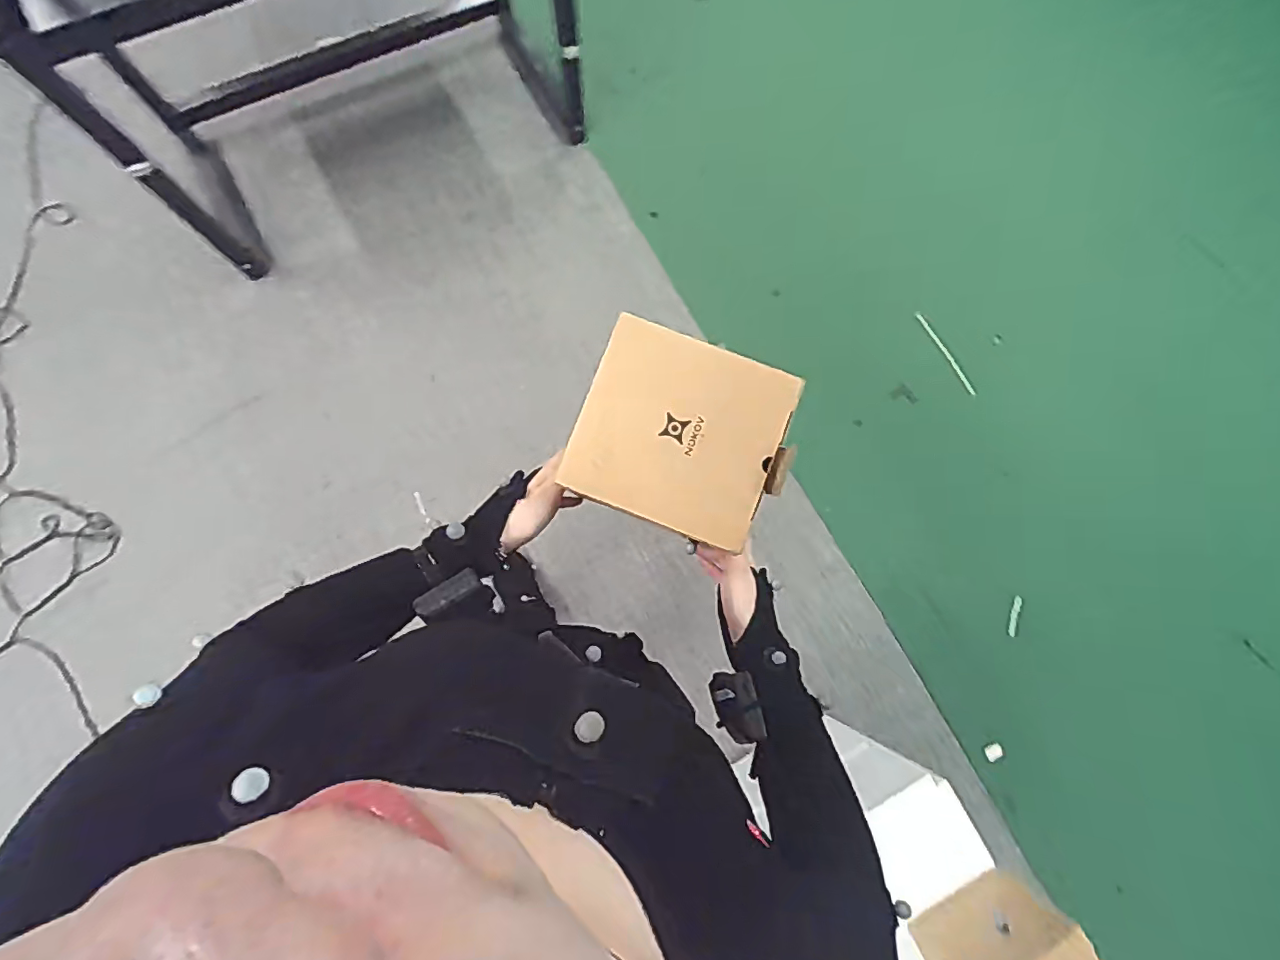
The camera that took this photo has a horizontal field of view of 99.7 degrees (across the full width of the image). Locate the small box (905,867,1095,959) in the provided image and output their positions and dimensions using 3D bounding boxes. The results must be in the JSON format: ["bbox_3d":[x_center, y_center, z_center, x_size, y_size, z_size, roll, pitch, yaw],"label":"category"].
[{"bbox_3d":[0.521,0.699,0.762,0.179,0.176,0.168,-26,80,-7],"label":"small box"}]

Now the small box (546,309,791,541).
[{"bbox_3d":[0.026,-0.043,0.554,0.179,0.176,0.168,20,86,2],"label":"small box"}]
